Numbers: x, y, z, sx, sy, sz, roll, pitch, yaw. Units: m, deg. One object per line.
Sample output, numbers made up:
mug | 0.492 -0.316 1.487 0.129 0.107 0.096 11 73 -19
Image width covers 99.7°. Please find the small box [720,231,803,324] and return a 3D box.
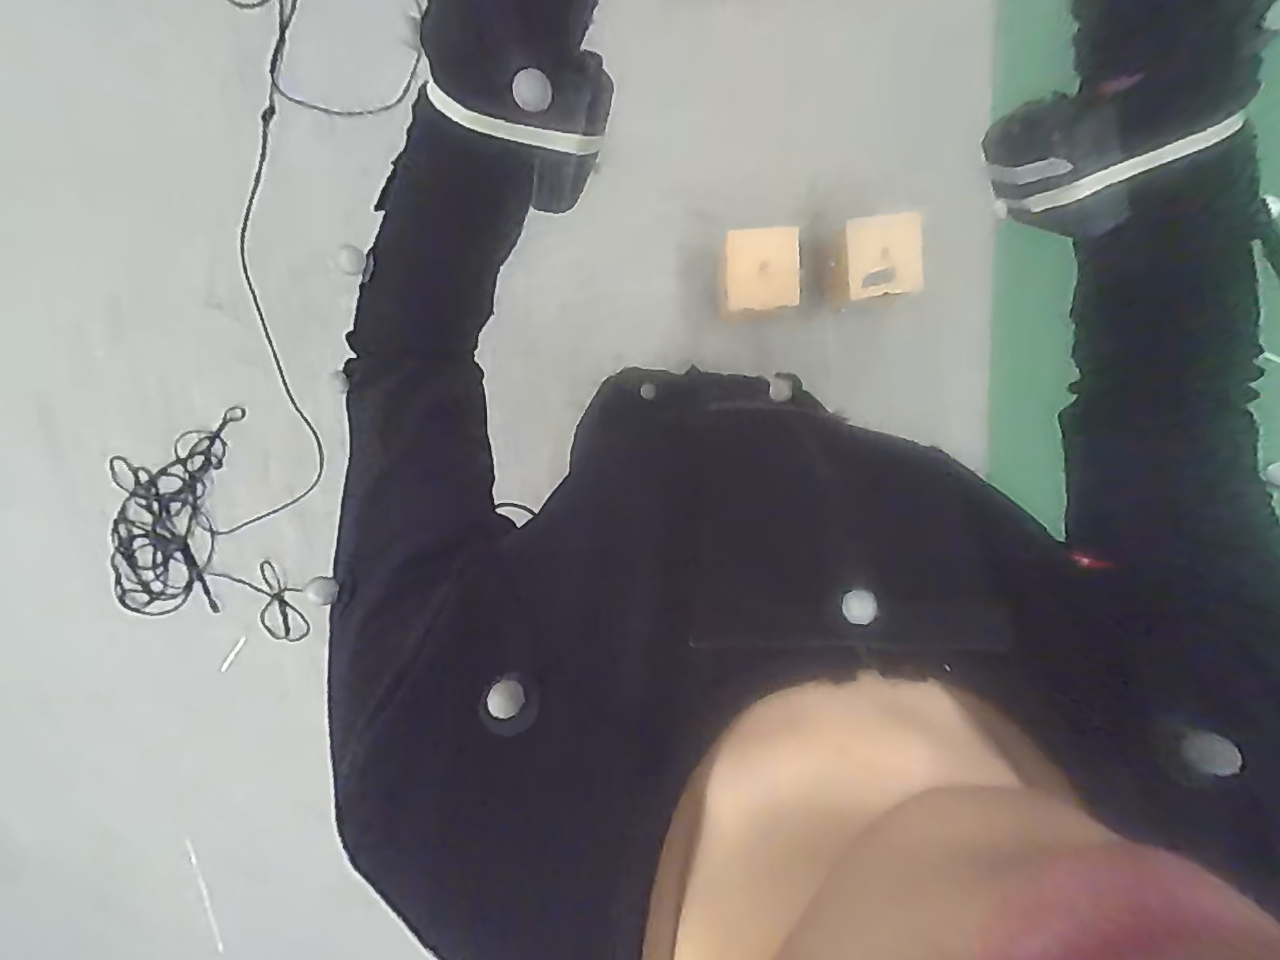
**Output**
small box | 0.286 -0.479 1.297 0.168 0.176 0.179 -4 100 3

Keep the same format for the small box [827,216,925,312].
small box | 0.554 -0.501 1.282 0.168 0.176 0.179 -7 99 3
